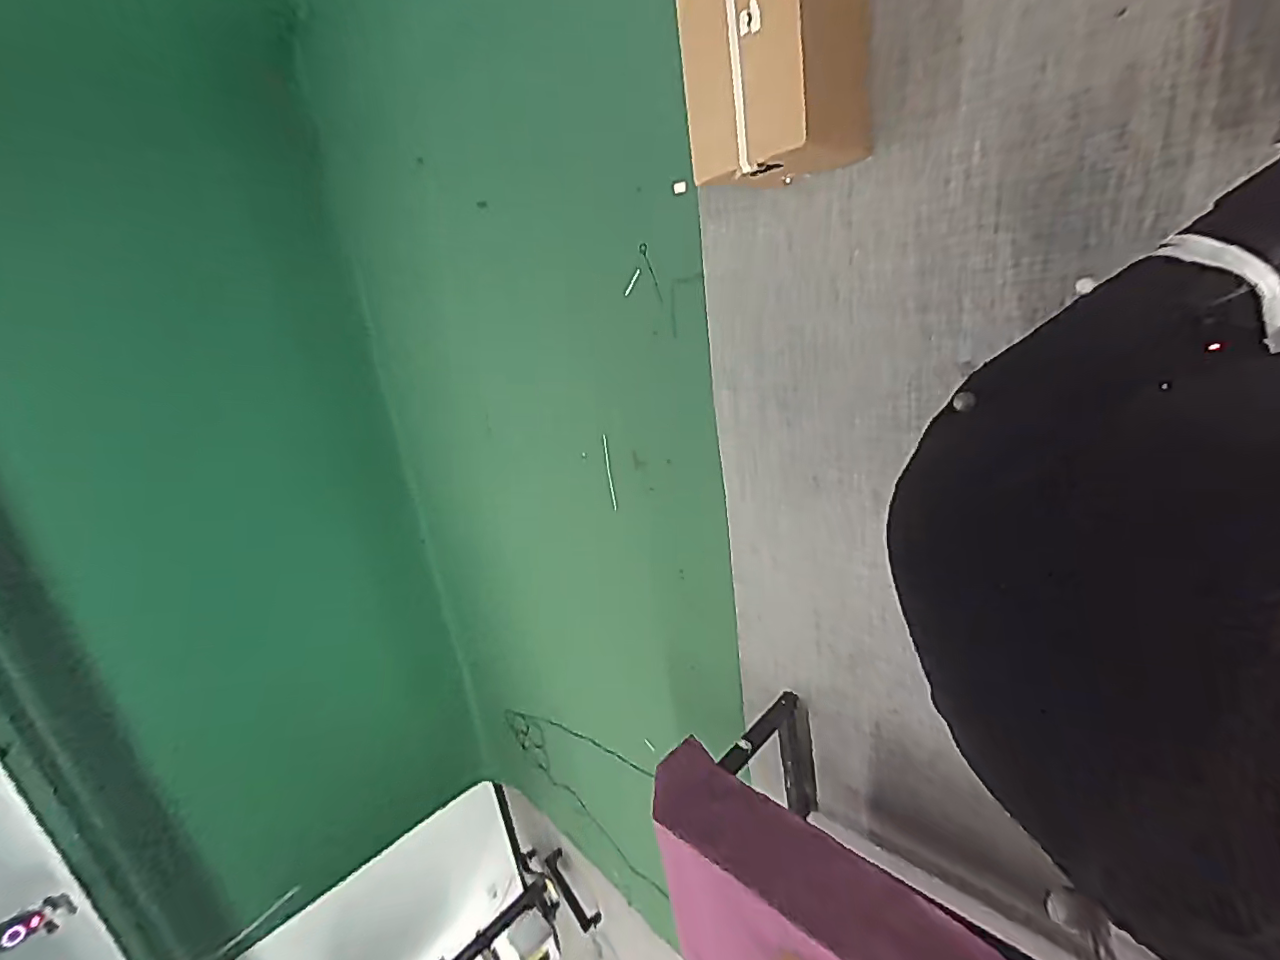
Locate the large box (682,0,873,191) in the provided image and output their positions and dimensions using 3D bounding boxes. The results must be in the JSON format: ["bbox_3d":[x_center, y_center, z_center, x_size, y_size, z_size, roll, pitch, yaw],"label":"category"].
[{"bbox_3d":[0.335,-0.953,1.285,0.320,0.320,0.408,10,114,46],"label":"large box"}]
